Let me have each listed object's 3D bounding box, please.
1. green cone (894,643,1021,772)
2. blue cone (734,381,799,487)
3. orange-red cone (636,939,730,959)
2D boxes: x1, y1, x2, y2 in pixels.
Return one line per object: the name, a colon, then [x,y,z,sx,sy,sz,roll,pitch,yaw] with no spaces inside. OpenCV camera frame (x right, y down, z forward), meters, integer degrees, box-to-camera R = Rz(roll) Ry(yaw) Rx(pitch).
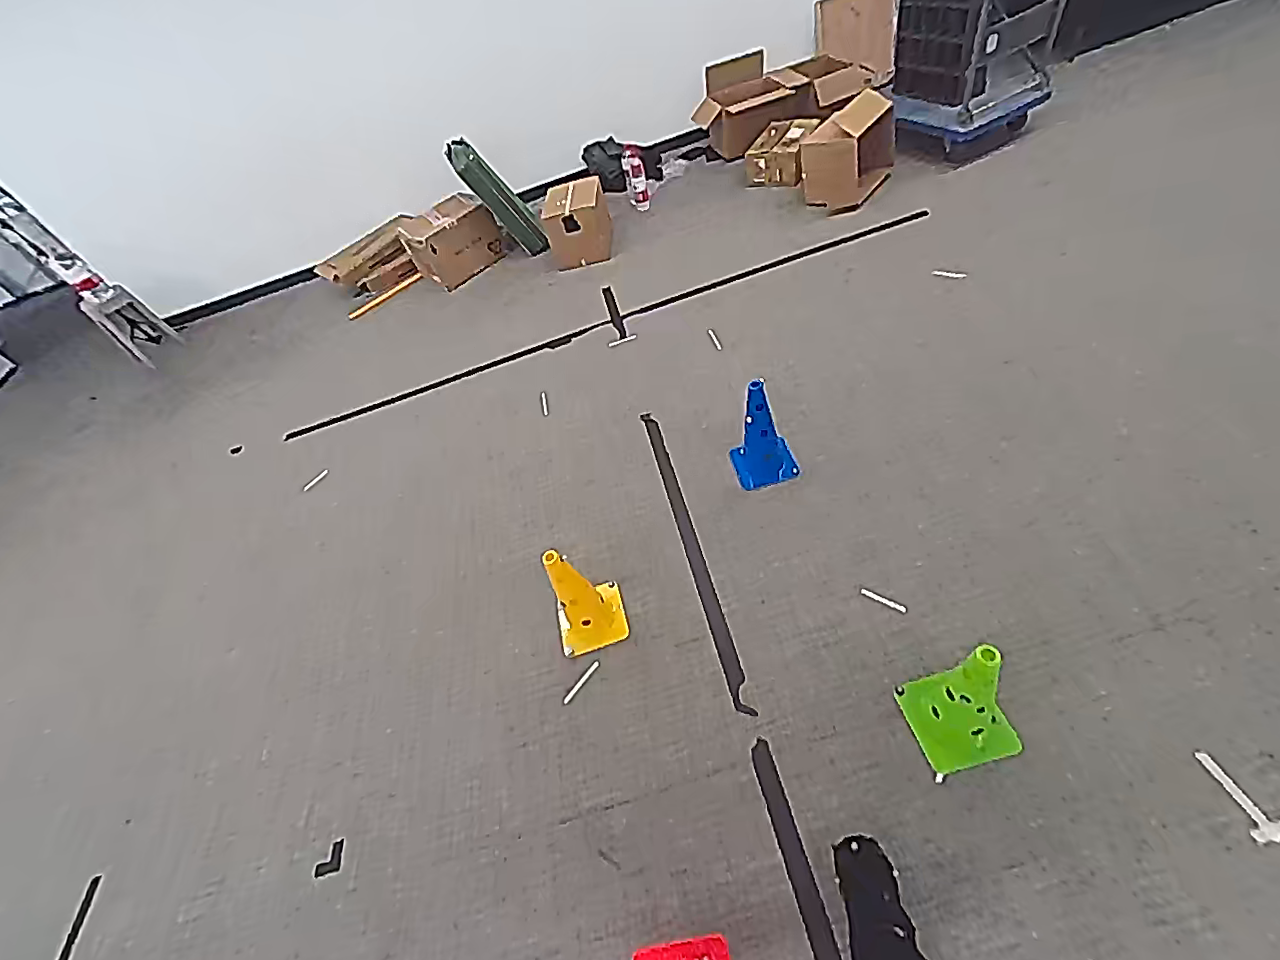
green cone: [0.680,0.433,1.110,0.202,0.368,0.200,-17,47,1]
blue cone: [0.393,-0.165,1.746,0.192,0.380,0.193,-15,48,4]
orange-red cone: [0.046,0.904,0.912,0.199,0.360,0.198,-16,46,6]
